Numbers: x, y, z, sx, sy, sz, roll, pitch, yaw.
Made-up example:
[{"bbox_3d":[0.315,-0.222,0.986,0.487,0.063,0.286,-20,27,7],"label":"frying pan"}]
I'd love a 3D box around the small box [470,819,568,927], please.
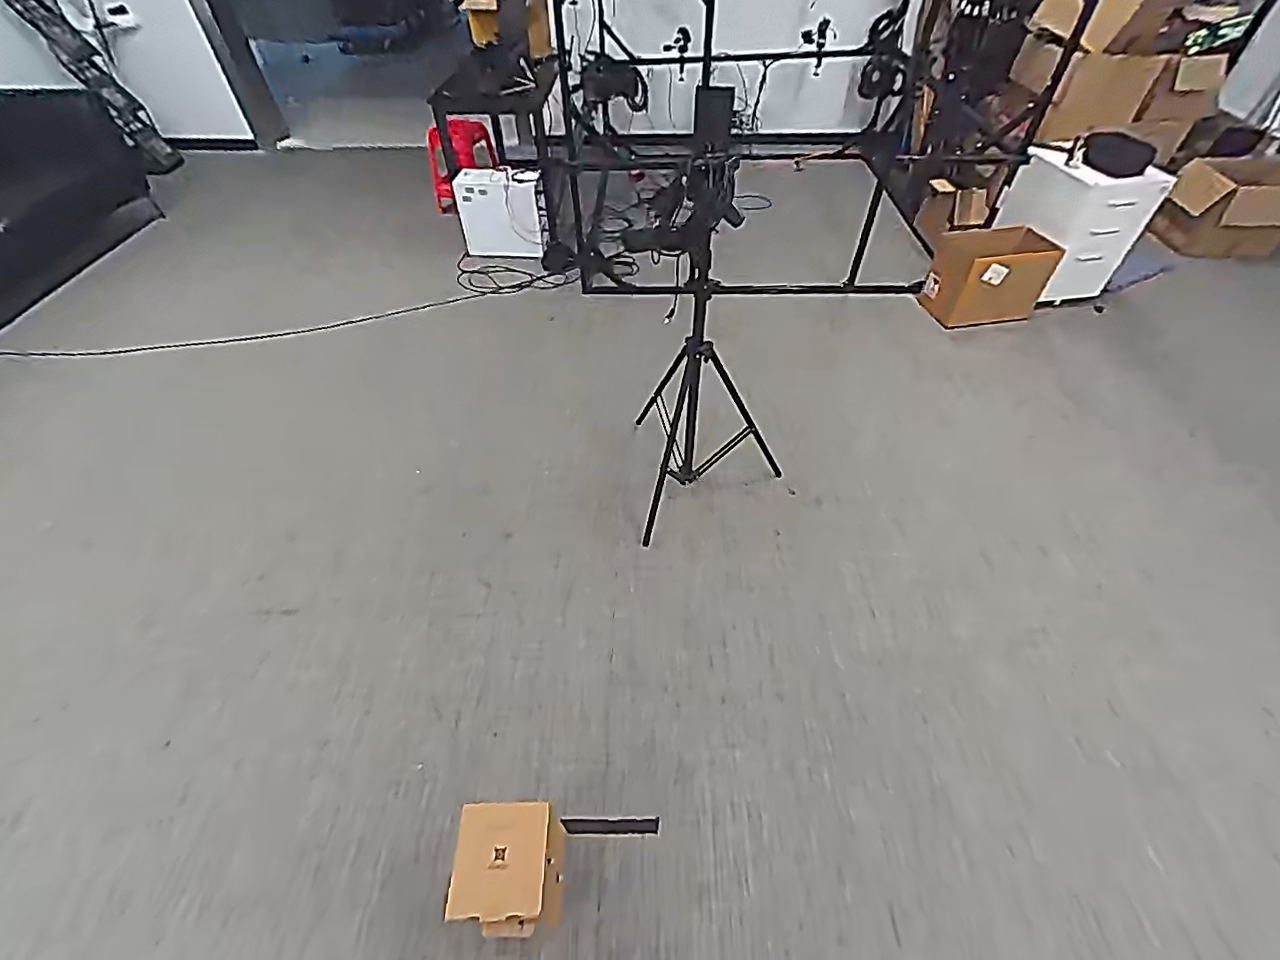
[{"bbox_3d":[-0.248,0.841,1.156,0.168,0.176,0.179,-1,48,0],"label":"small box"}]

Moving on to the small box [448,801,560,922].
[{"bbox_3d":[-0.248,0.733,1.035,0.168,0.176,0.179,-1,48,-1],"label":"small box"}]
